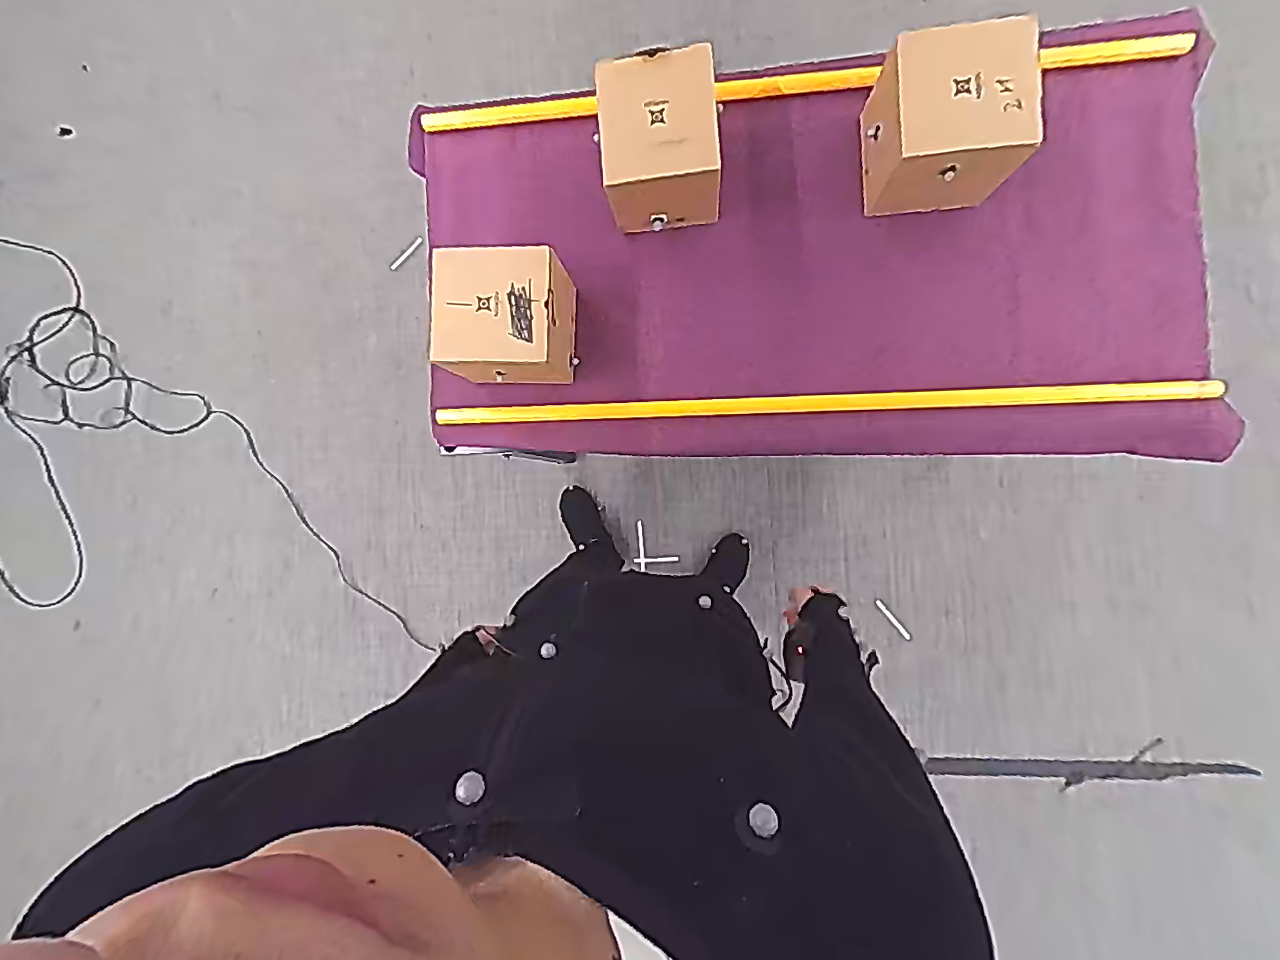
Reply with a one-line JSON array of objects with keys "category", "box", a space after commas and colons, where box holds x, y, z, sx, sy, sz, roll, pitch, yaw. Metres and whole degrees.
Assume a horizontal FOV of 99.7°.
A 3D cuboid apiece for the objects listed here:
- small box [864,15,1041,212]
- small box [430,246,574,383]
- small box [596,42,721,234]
[{"category": "small box", "box": [0.431, -0.507, 0.776, 0.179, 0.176, 0.168, -2, 91, 6]}, {"category": "small box", "box": [-0.204, -0.248, 0.842, 0.179, 0.176, 0.168, 2, 90, 6]}, {"category": "small box", "box": [0.032, -0.505, 0.821, 0.168, 0.176, 0.179, -5, 90, 7]}]
